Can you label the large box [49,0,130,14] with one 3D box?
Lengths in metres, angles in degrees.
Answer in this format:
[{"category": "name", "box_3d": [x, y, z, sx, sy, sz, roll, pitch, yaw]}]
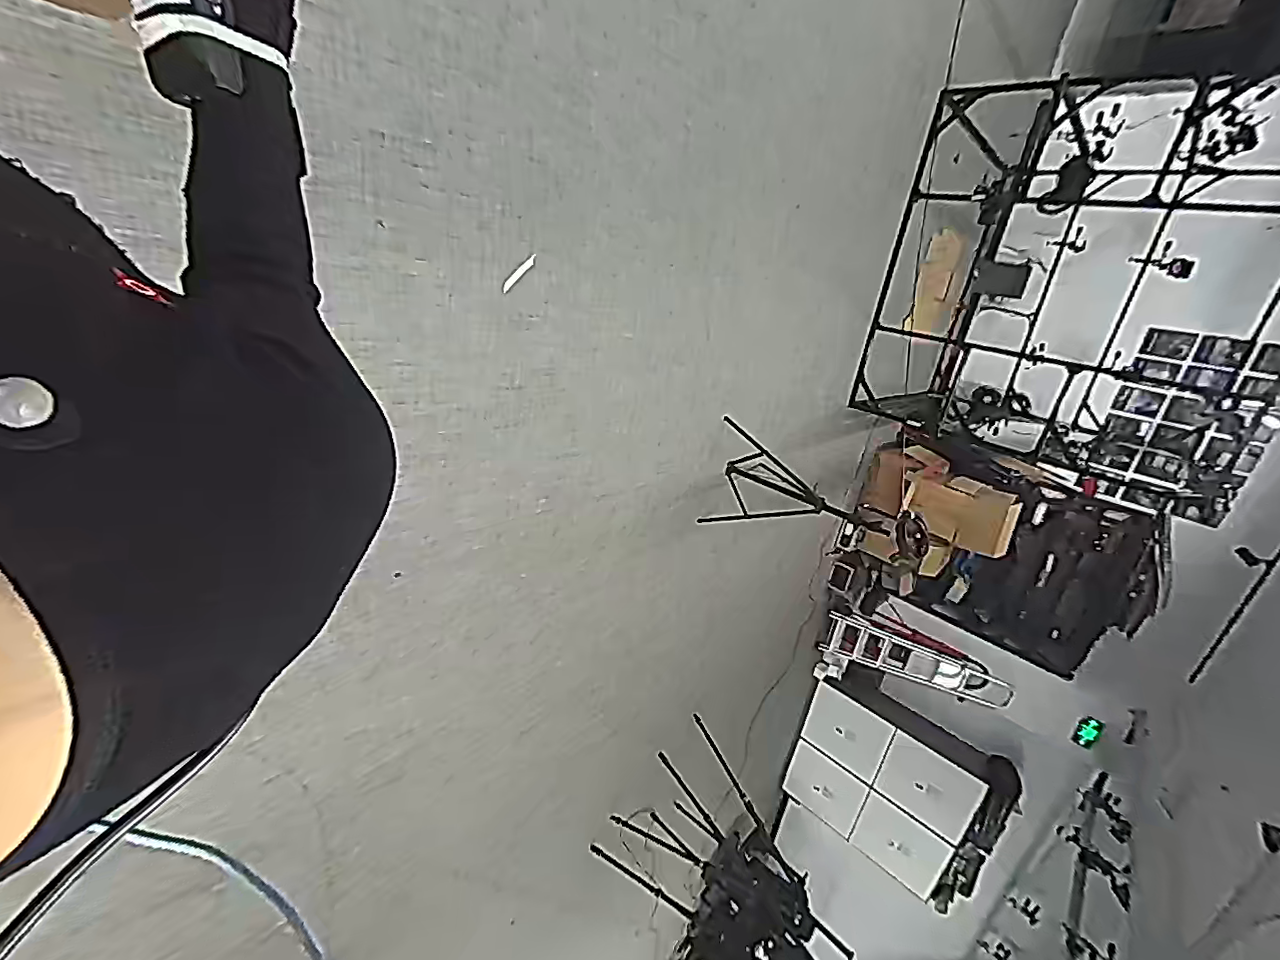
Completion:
[{"category": "large box", "box_3d": [-0.526, -0.501, 0.254, 0.408, 0.320, 0.320, -16, 126, -47]}]
